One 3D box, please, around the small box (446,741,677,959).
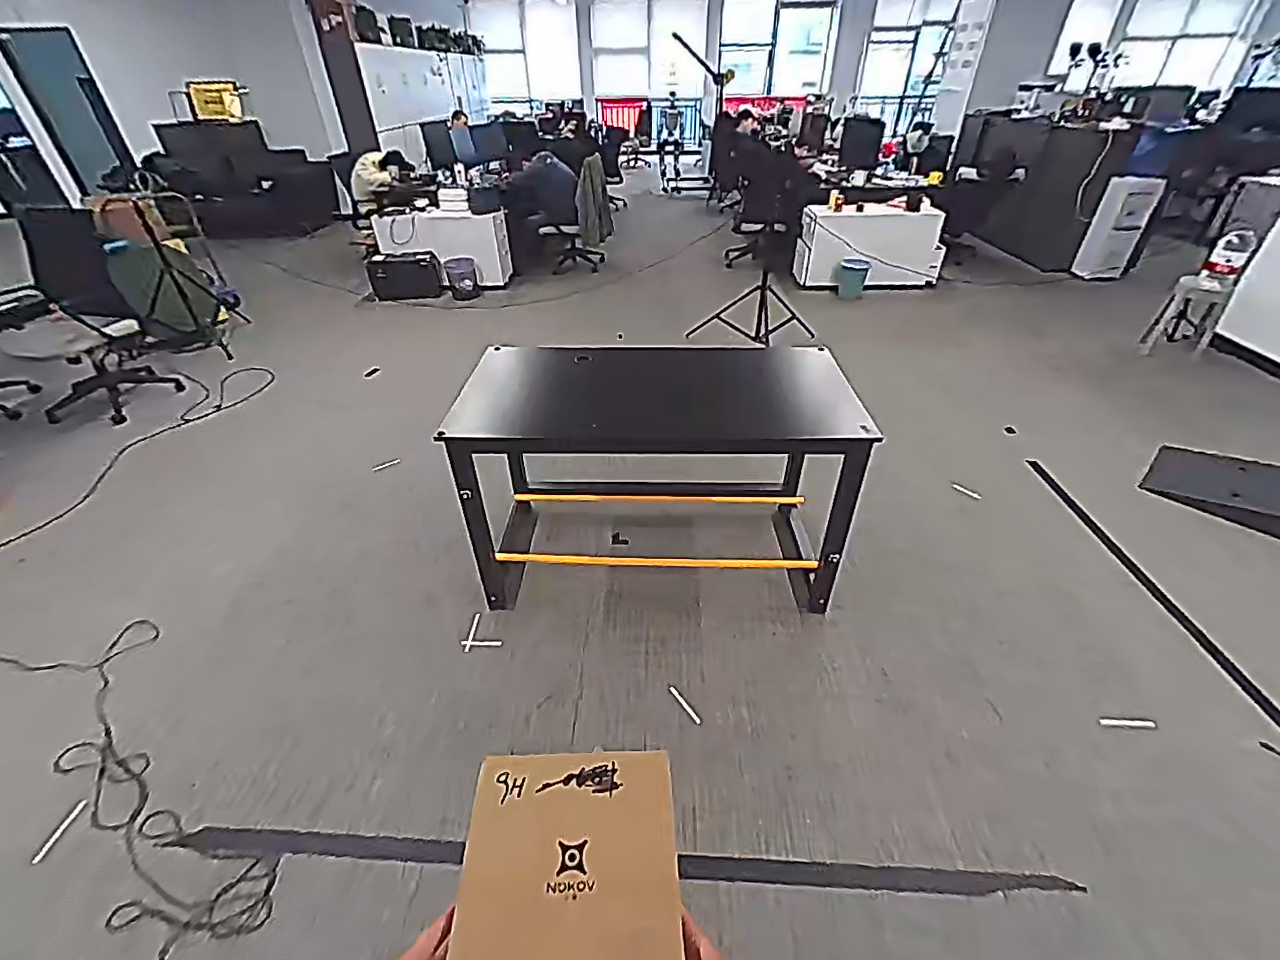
[{"bbox_3d":[-0.055,0.354,0.473,0.168,0.176,0.179,-2,41,-2],"label":"small box"}]
